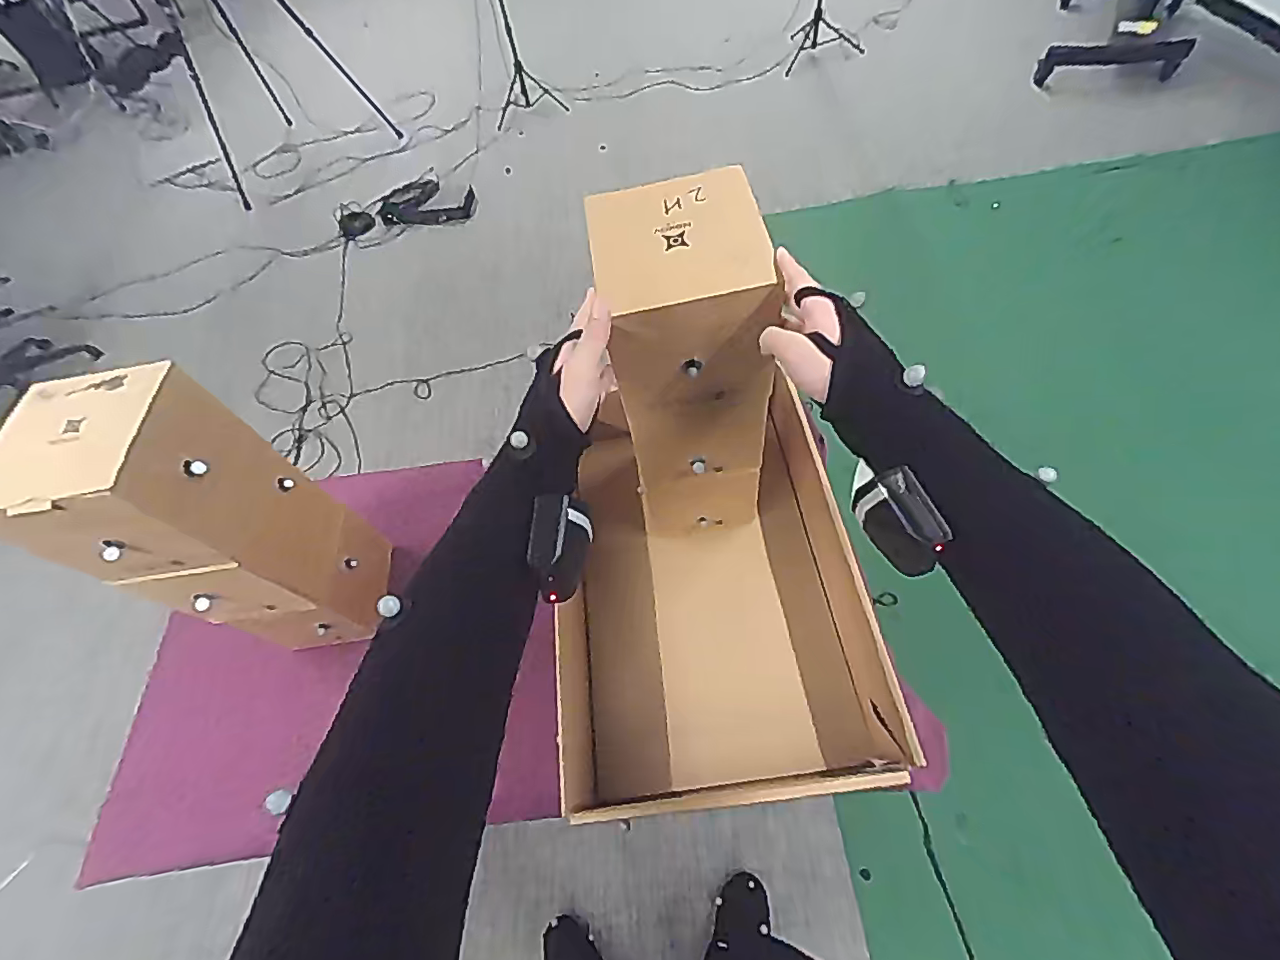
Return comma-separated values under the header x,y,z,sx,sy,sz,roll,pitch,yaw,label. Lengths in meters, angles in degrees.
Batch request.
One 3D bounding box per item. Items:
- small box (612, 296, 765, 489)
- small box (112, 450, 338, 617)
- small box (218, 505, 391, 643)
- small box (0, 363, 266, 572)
x,y,z,sx,sy,sz,roll,pitch,yaw,label
0.063,-0.111,0.726,0.168,0.176,0.179,-11,61,3,small box
-0.560,0.085,0.763,0.168,0.176,0.179,-9,58,2,small box
-0.541,0.165,0.902,0.168,0.176,0.179,-8,58,2,small box
-0.578,-0.004,0.626,0.168,0.176,0.179,-9,58,1,small box
